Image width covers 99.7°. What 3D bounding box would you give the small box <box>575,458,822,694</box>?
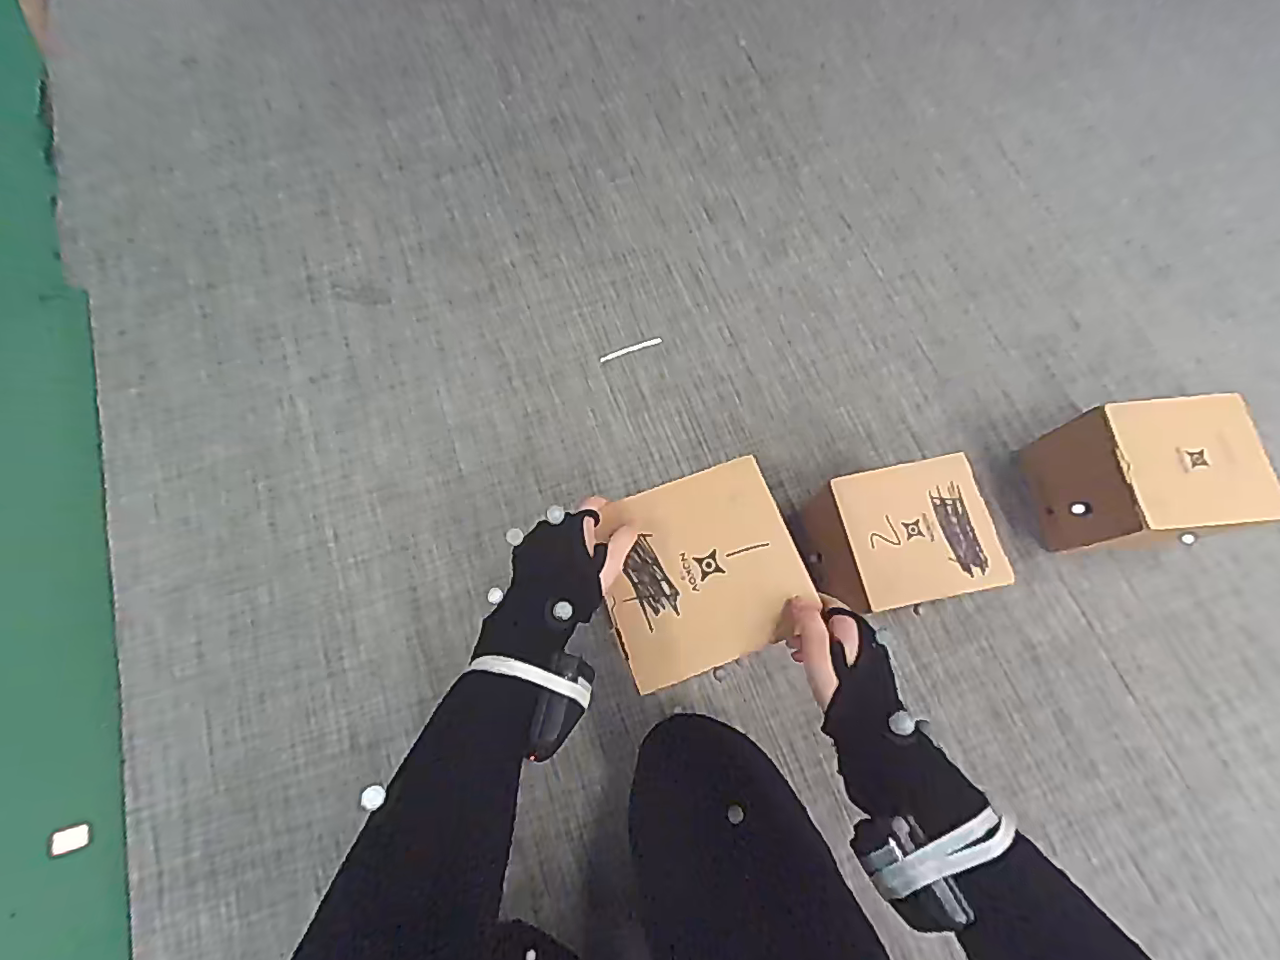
[{"bbox_3d":[0.050,0.104,0.550,0.179,0.176,0.168,-20,73,-6],"label":"small box"}]

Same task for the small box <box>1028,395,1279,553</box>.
[{"bbox_3d":[0.670,0.001,0.733,0.179,0.176,0.168,-4,73,0],"label":"small box"}]
